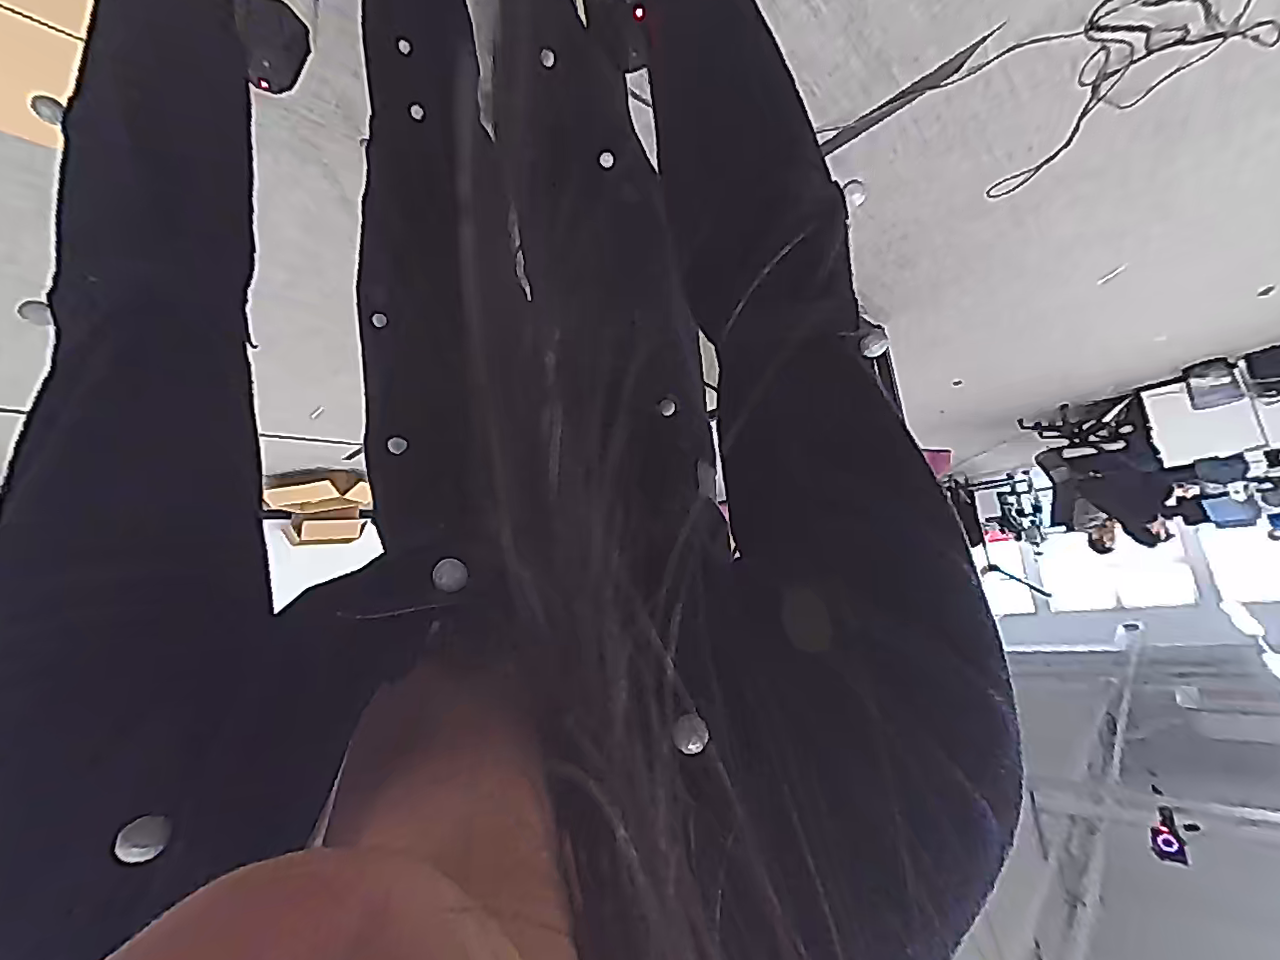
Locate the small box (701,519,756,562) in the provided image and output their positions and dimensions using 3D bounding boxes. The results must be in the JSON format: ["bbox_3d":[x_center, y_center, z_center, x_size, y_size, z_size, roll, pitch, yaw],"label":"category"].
[{"bbox_3d":[0.394,0.268,2.415,0.179,0.176,0.168,-16,166,39],"label":"small box"}]
